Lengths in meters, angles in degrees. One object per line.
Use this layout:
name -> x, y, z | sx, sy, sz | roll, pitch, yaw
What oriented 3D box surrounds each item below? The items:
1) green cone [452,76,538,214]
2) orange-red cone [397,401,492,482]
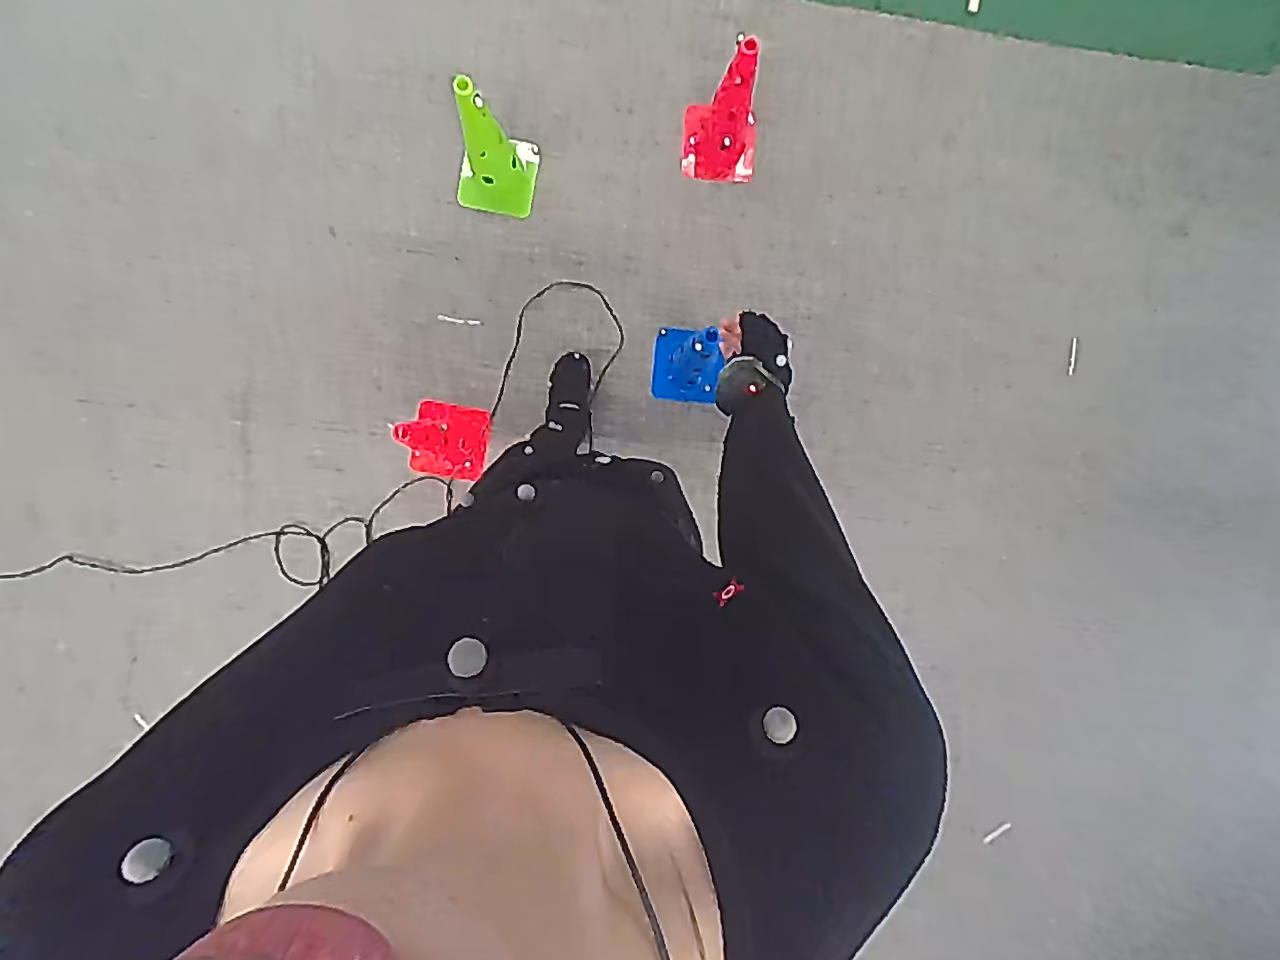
green cone -> -0.378, -0.824, 1.288 | 0.200, 0.368, 0.202 | 9, 92, -2
orange-red cone -> -0.503, -0.103, 1.303 | 0.198, 0.360, 0.199 | 11, 89, -4
